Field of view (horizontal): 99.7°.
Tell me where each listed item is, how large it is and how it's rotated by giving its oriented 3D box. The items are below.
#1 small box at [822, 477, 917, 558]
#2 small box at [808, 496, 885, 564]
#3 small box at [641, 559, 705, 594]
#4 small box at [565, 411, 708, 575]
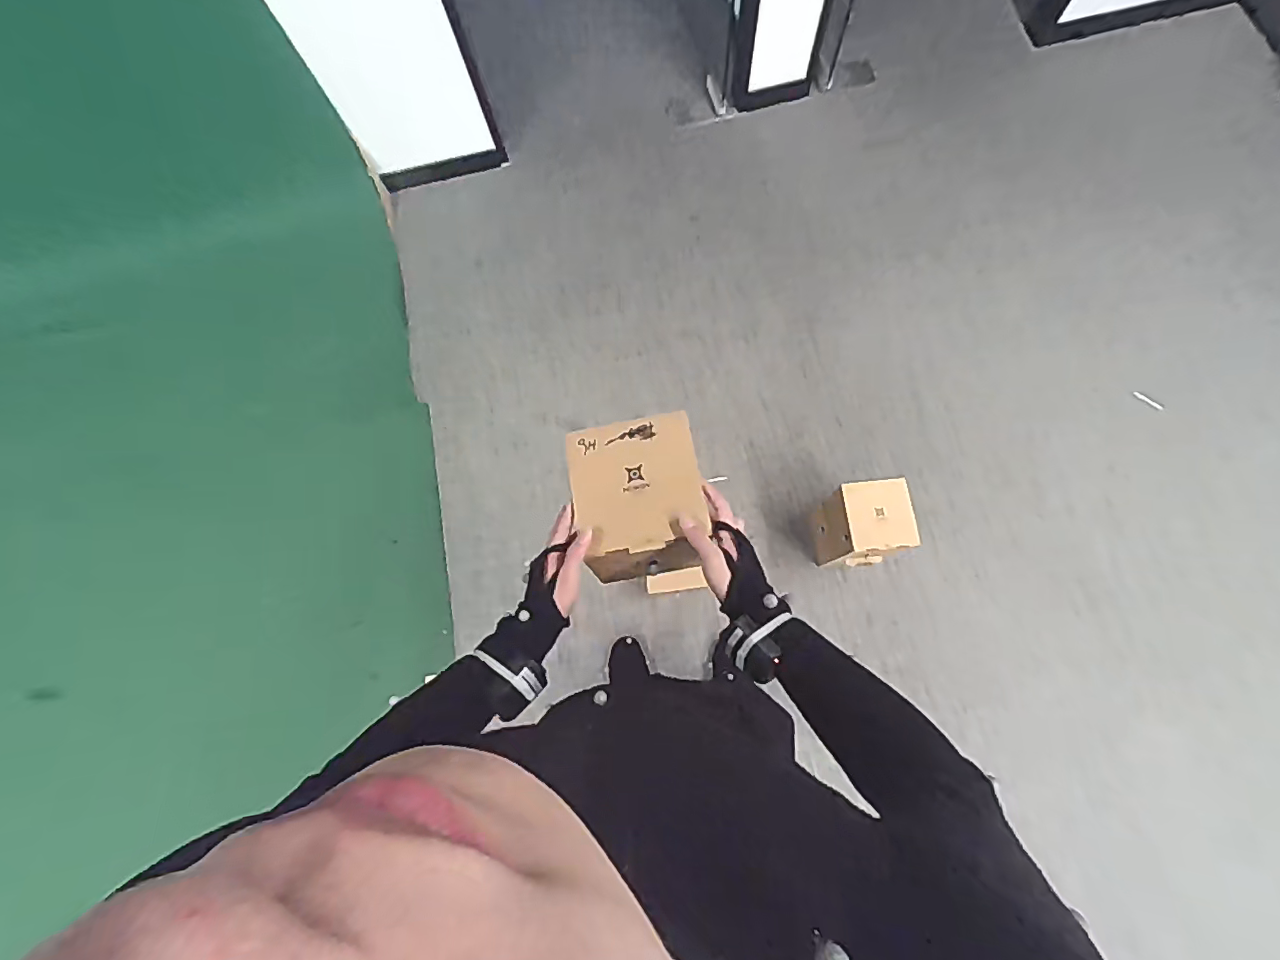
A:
[{"bbox_3d":[0.594,0.104,1.424,0.168,0.176,0.179,-6,75,1],"label":"small box"},{"bbox_3d":[0.595,0.149,1.579,0.168,0.176,0.179,-1,76,5],"label":"small box"},{"bbox_3d":[0.092,0.241,1.584,0.179,0.176,0.168,-7,76,1],"label":"small box"},{"bbox_3d":[-0.001,0.029,0.754,0.168,0.176,0.179,-10,69,1],"label":"small box"}]
